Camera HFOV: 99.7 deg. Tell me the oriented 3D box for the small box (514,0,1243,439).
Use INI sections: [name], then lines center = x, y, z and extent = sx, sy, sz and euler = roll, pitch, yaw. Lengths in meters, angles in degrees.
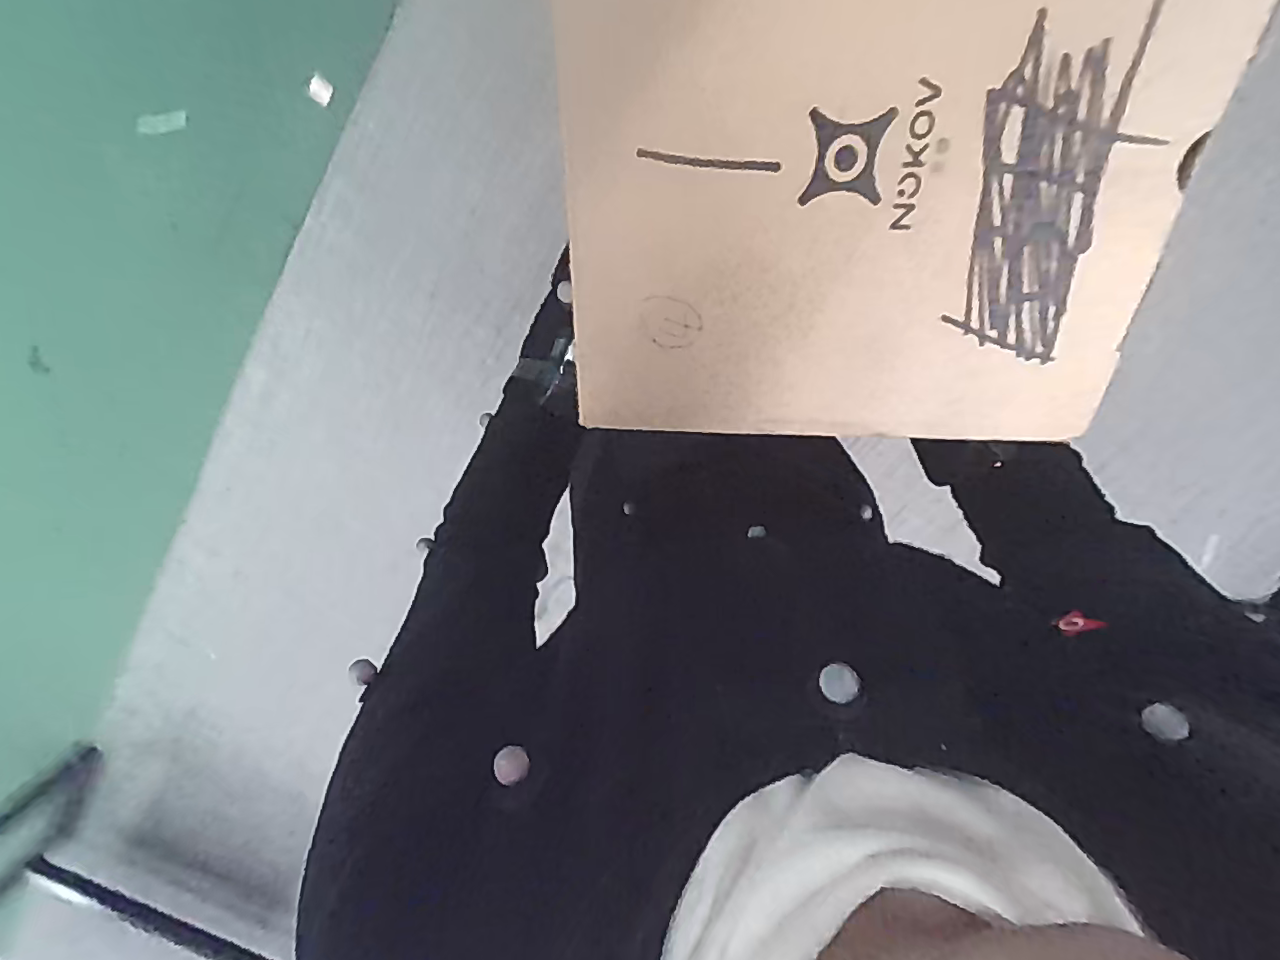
[small box]
center = 0.057, -0.129, 0.213
extent = 0.179, 0.176, 0.168
euler = 4, 120, 2
